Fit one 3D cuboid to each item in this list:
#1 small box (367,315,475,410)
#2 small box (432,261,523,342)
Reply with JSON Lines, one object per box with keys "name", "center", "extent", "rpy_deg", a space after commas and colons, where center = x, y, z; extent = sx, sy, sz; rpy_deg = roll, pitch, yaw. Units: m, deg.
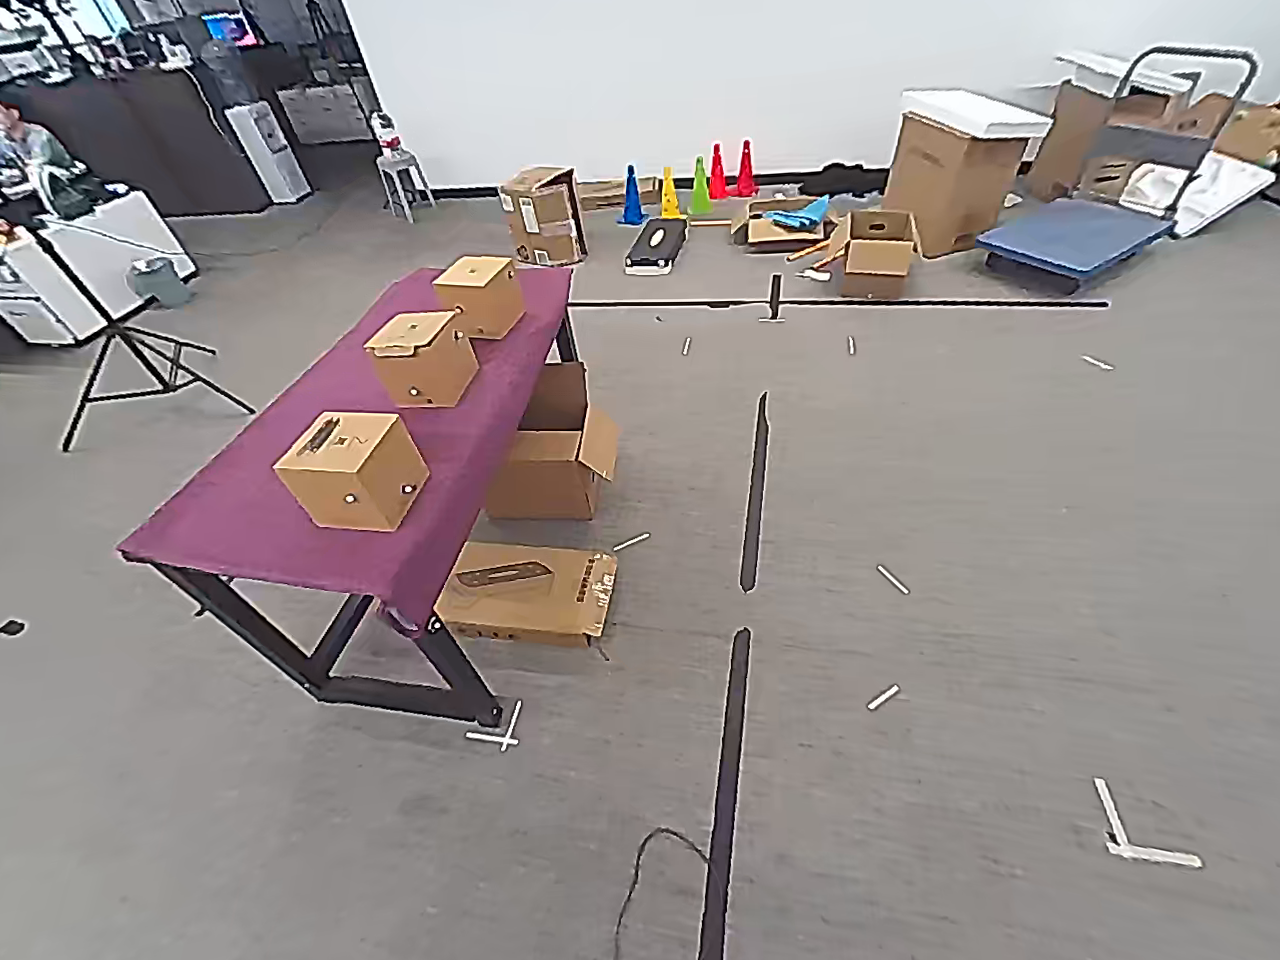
{"name": "small box", "center": [-0.533, -0.292, 1.350], "extent": [0.168, 0.176, 0.179], "rpy_deg": [0, 45, 12]}
{"name": "small box", "center": [-0.459, -0.516, 1.564], "extent": [0.168, 0.176, 0.179], "rpy_deg": [7, 47, 16]}
